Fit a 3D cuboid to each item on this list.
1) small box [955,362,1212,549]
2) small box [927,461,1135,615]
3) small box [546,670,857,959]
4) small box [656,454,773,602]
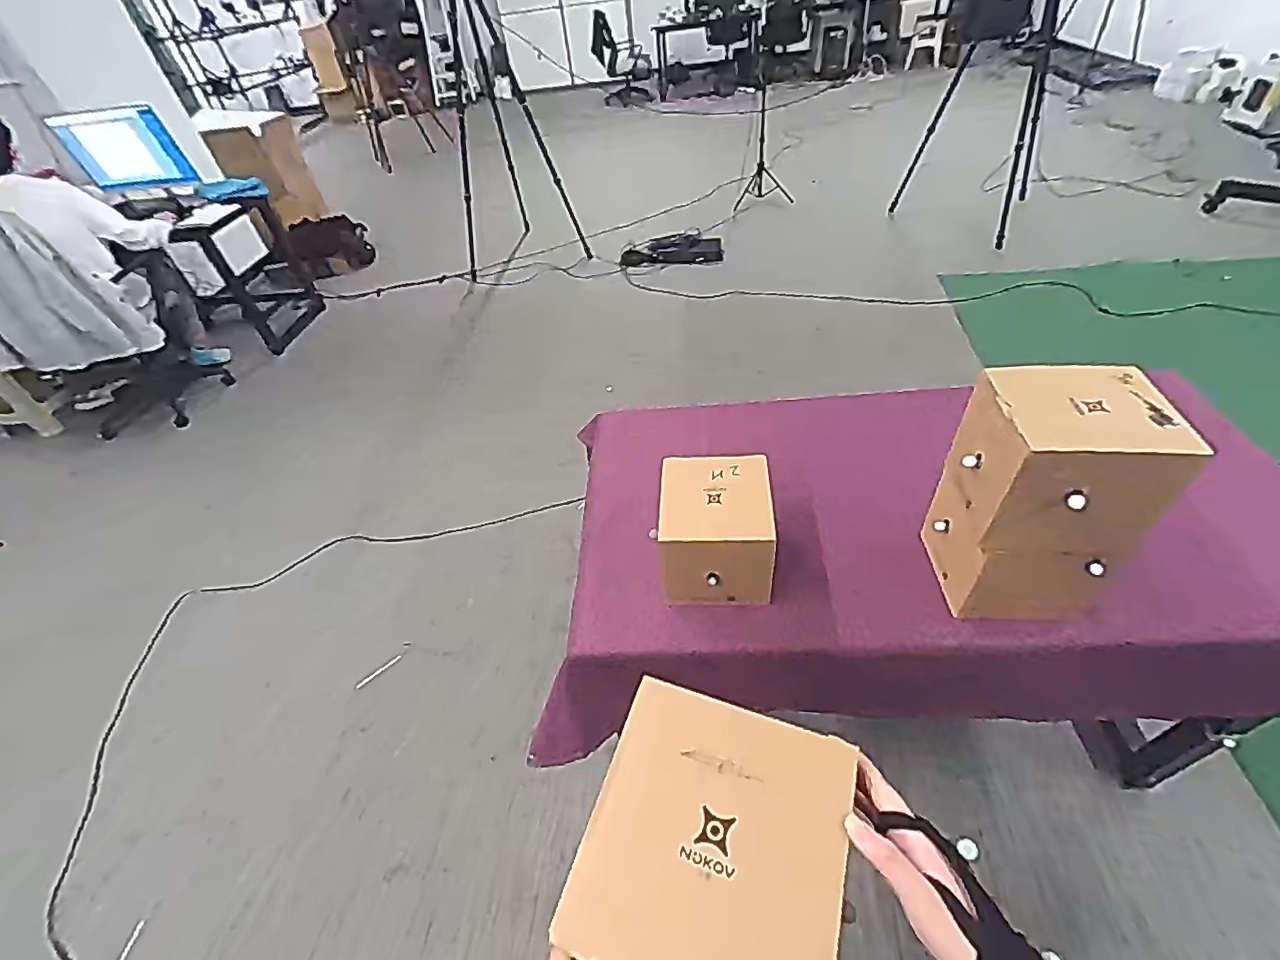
[{"bbox_3d":[0.516,-0.029,0.671,0.179,0.176,0.168,1,46,10],"label":"small box"},{"bbox_3d":[0.541,0.084,0.788,0.179,0.176,0.168,-2,45,7],"label":"small box"},{"bbox_3d":[0.055,0.283,0.415,0.168,0.176,0.179,13,52,18],"label":"small box"},{"bbox_3d":[0.120,0.079,0.859,0.168,0.176,0.179,-1,45,8],"label":"small box"}]
